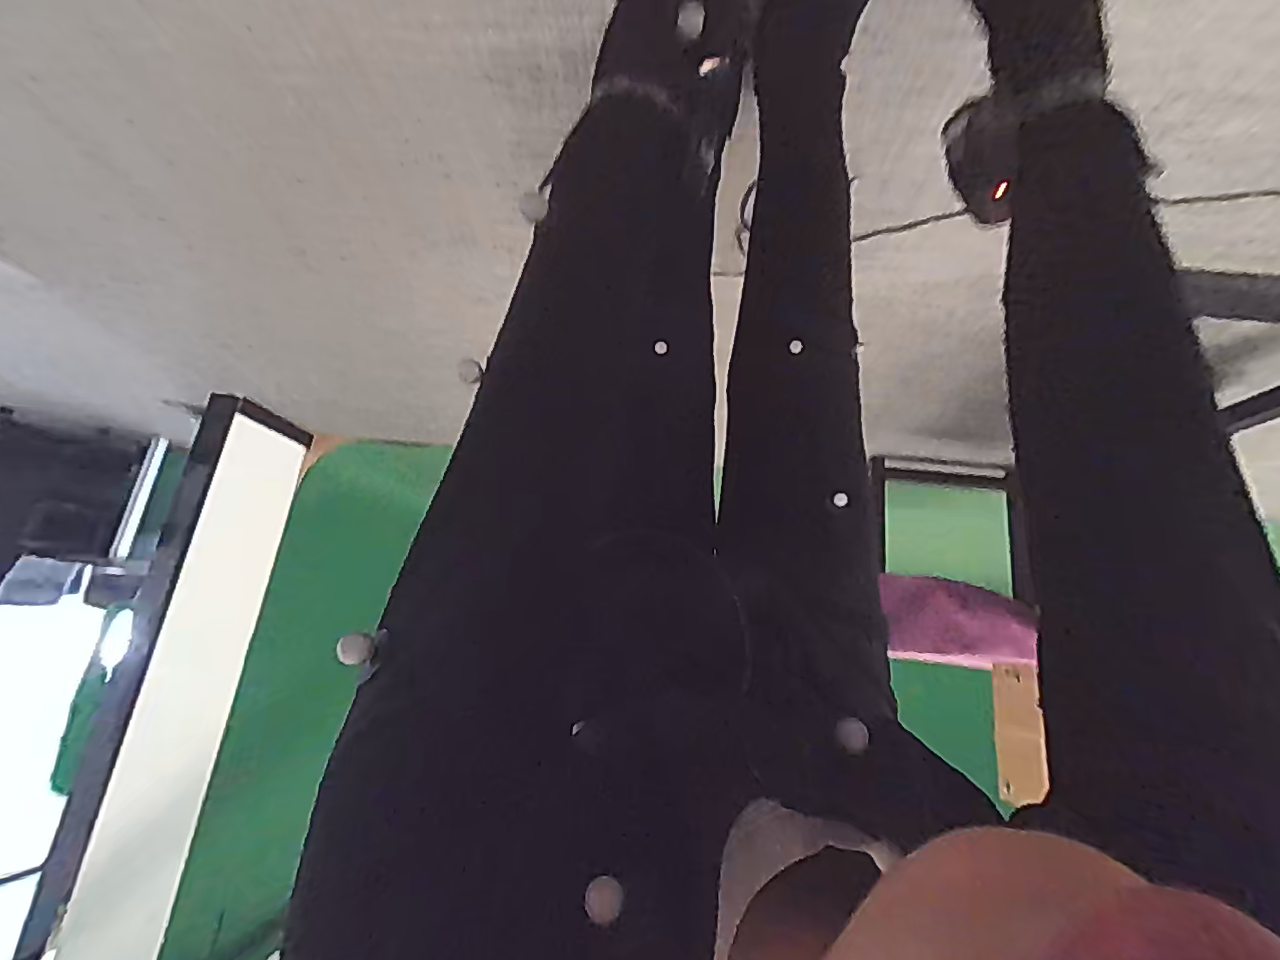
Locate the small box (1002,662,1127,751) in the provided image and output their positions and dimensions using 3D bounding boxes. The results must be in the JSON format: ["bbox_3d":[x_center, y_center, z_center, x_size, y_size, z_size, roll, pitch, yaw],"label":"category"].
[{"bbox_3d":[1.026,0.546,1.320,0.179,0.176,0.168,7,163,0],"label":"small box"}]
